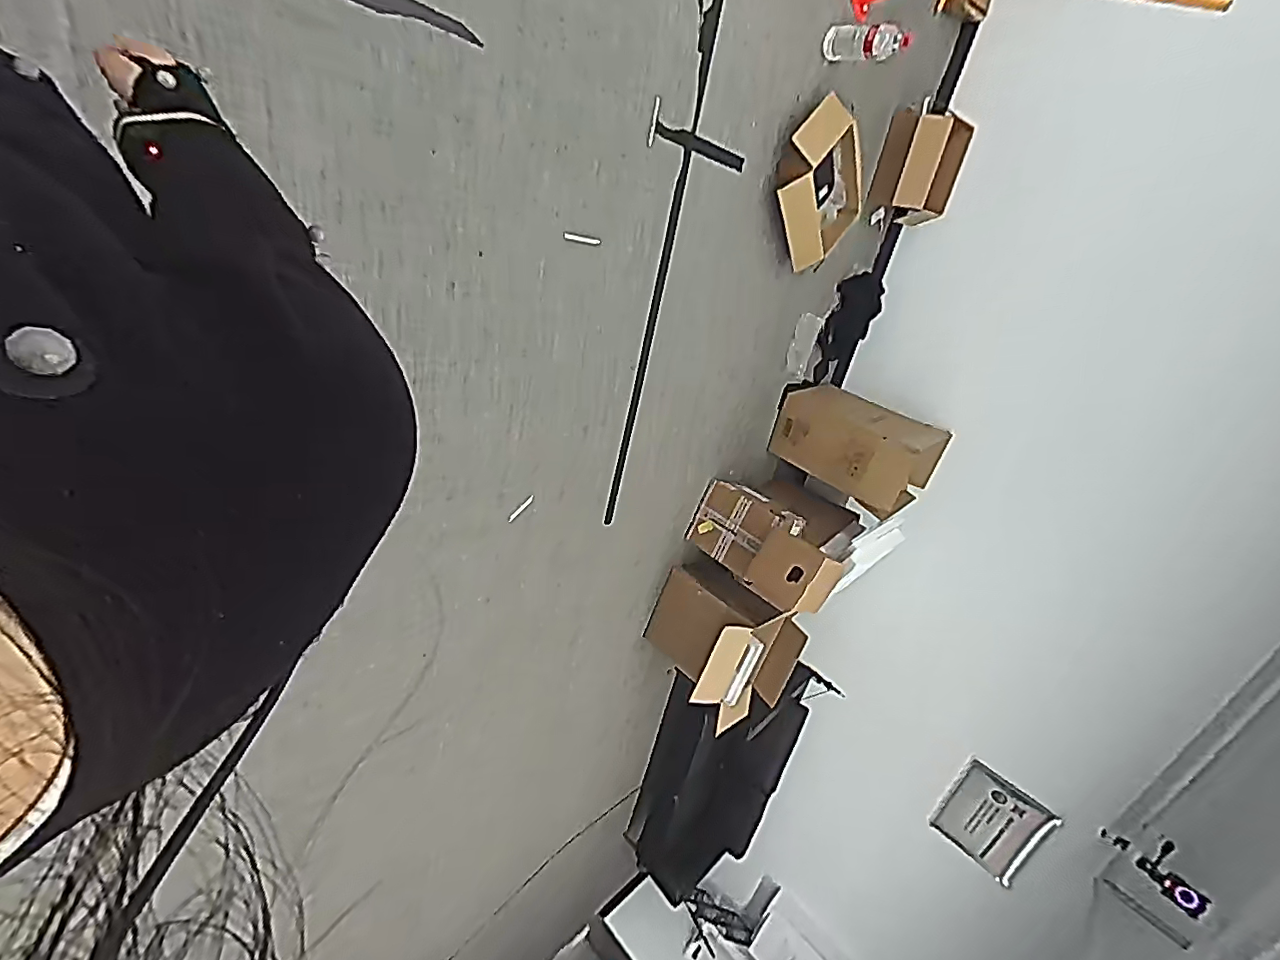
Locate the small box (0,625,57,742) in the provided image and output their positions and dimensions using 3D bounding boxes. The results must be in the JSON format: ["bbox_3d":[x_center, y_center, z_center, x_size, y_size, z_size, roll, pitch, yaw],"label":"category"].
[{"bbox_3d":[-1.357,0.428,1.124,0.168,0.176,0.179,-14,127,-43],"label":"small box"}]
